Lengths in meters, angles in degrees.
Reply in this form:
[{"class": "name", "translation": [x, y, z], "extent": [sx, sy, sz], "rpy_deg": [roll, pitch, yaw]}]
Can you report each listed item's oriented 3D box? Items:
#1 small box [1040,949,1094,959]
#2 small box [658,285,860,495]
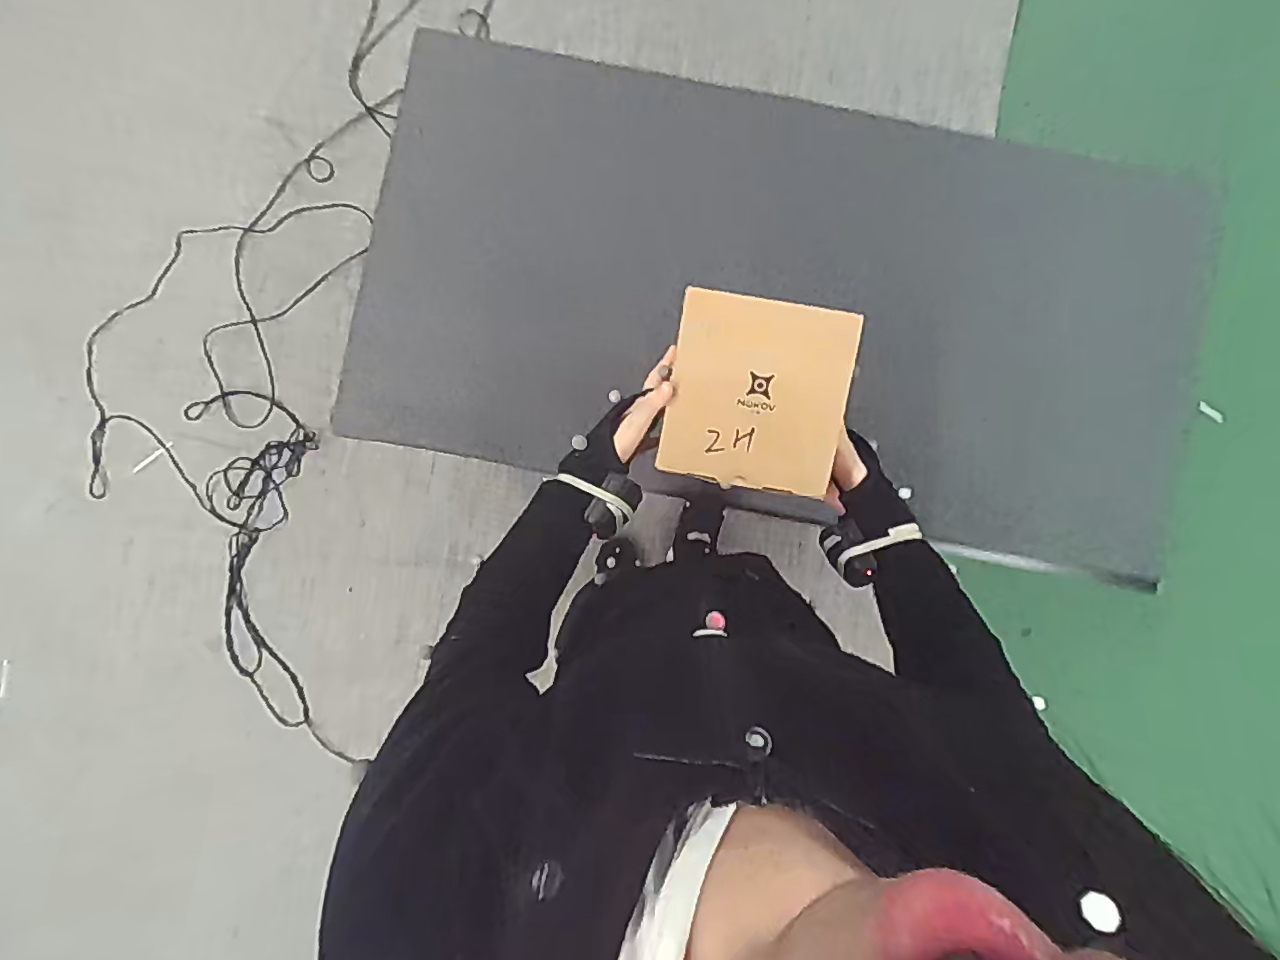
[{"class": "small box", "translation": [1.168, 1.374, 1.398], "extent": [0.179, 0.176, 0.168], "rpy_deg": [12, 89, 1]}, {"class": "small box", "translation": [0.114, -0.091, 0.591], "extent": [0.168, 0.176, 0.179], "rpy_deg": [10, 95, 2]}]
